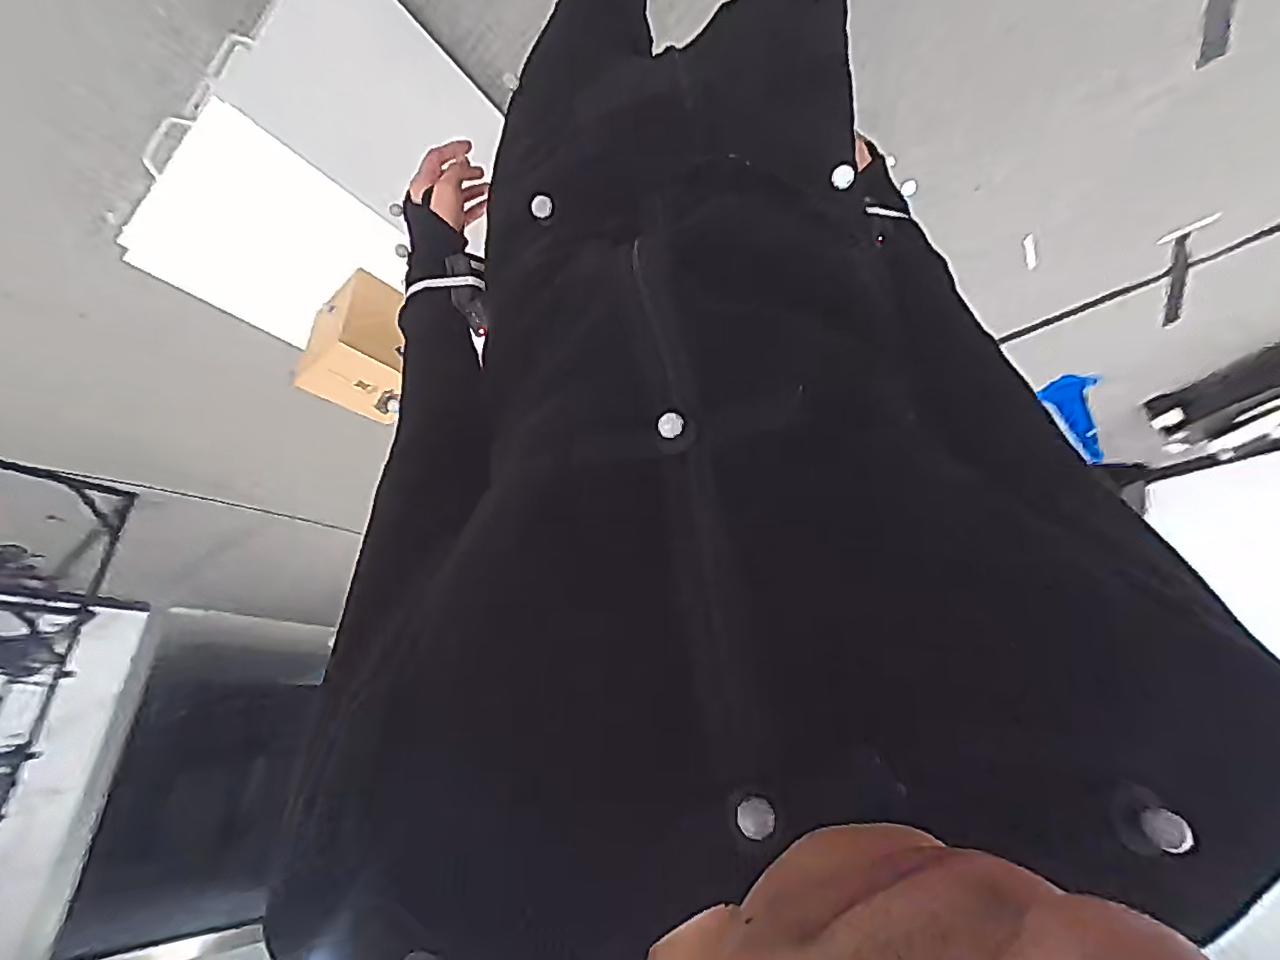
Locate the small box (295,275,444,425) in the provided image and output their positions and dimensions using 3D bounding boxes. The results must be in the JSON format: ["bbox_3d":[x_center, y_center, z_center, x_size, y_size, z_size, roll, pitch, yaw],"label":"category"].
[{"bbox_3d":[-0.480,-0.231,0.982,0.168,0.176,0.179,-23,146,32],"label":"small box"}]
